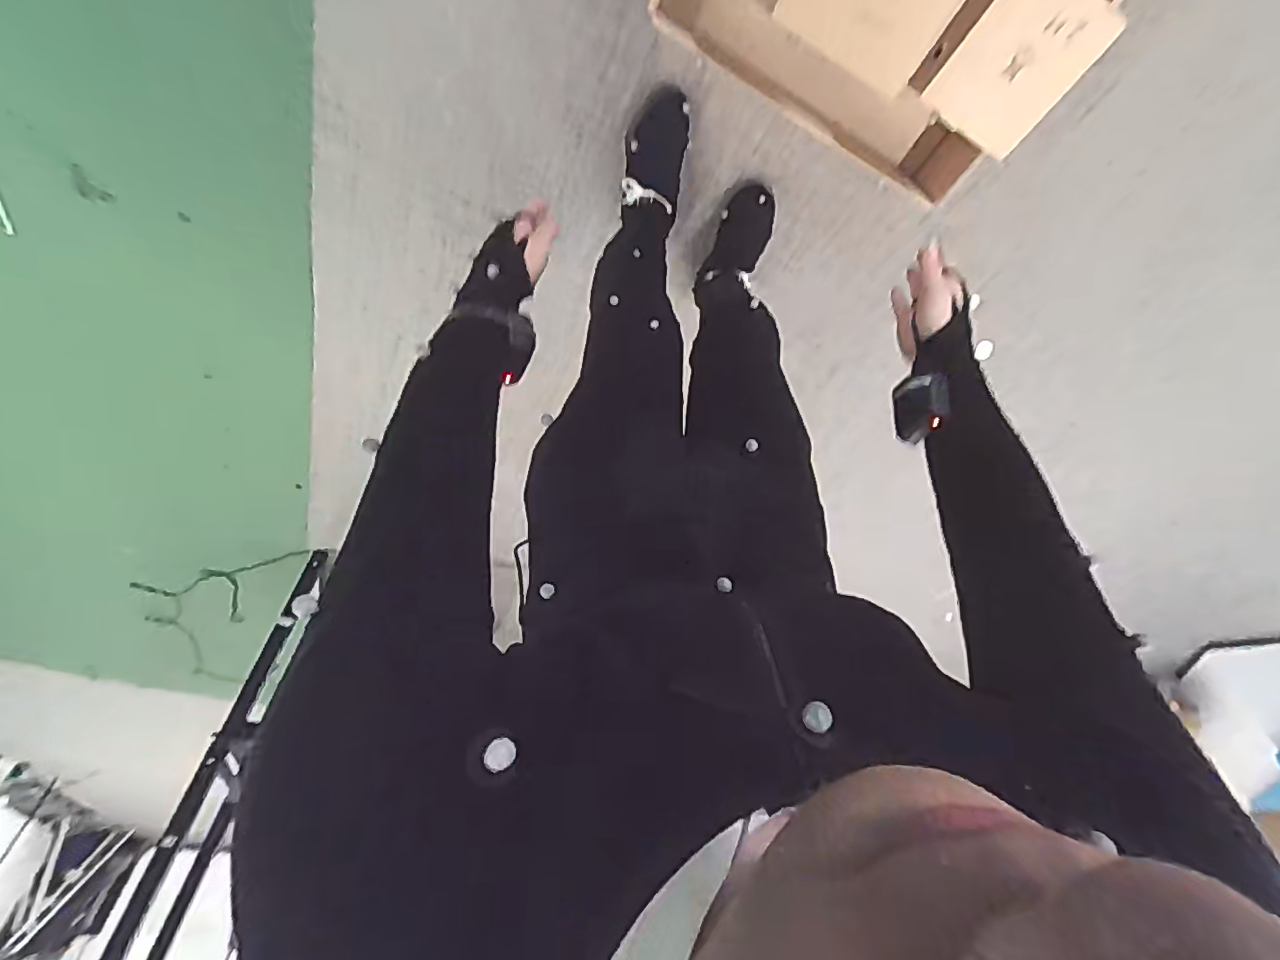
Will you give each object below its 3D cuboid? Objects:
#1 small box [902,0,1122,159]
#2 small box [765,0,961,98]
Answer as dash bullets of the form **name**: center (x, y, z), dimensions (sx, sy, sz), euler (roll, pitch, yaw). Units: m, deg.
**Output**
- **small box**: center (0.487, -0.596, 0.748), dimensions (0.168, 0.176, 0.179), euler (22, 134, -18)
- **small box**: center (0.240, -0.553, 0.560), dimensions (0.168, 0.176, 0.179), euler (19, 136, -19)
